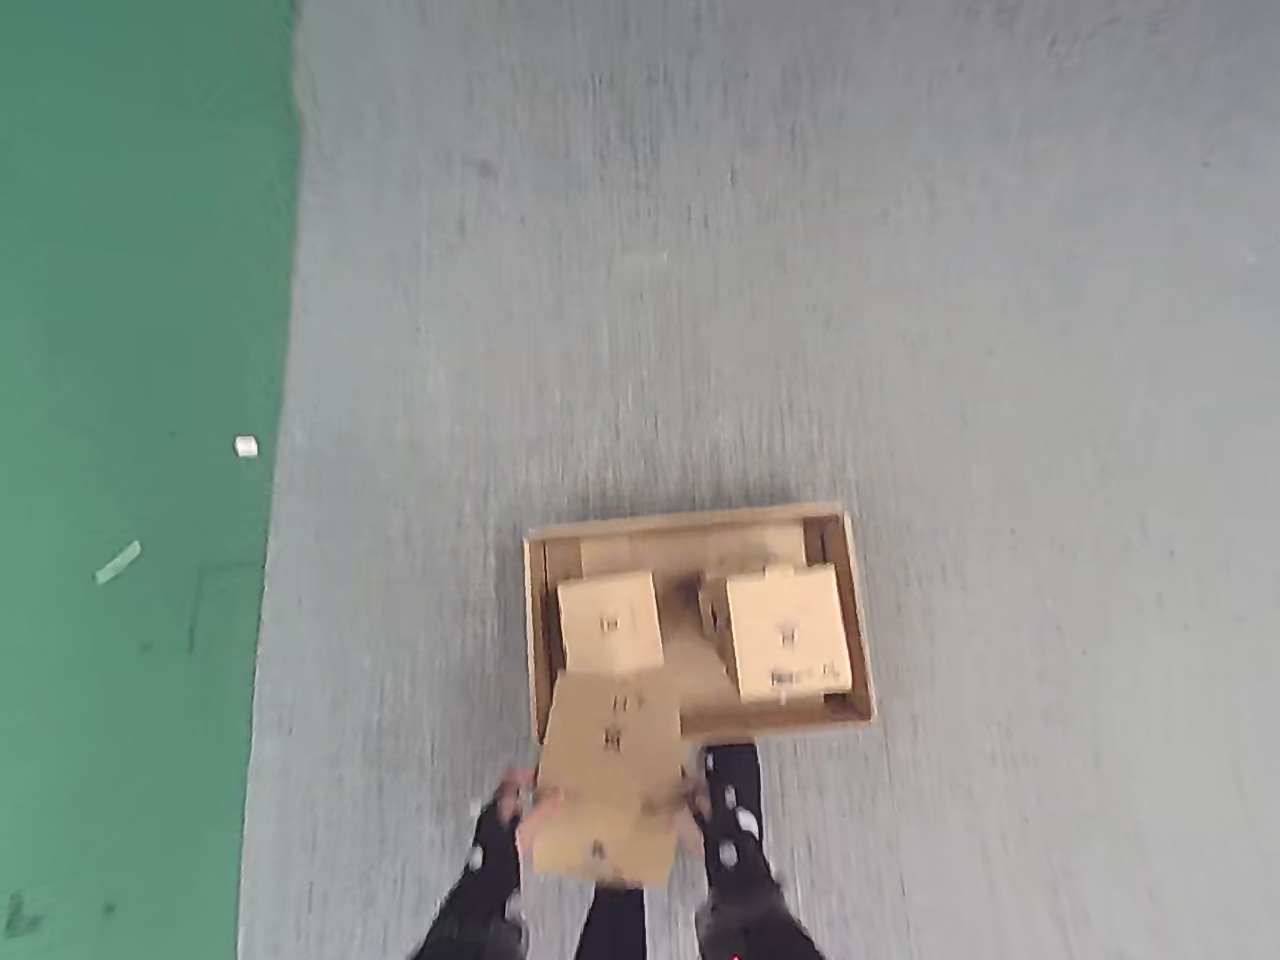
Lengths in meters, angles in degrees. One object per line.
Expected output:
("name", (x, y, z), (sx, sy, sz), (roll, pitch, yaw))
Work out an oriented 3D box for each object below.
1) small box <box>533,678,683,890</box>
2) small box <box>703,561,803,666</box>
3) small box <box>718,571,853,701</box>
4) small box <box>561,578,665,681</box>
("small box", (-0.036, 0.386, 0.691), (0.168, 0.179, 0.176), (6, 121, -1))
("small box", (0.221, 0.253, 1.044), (0.179, 0.176, 0.168), (-9, 80, 0))
("small box", (0.224, 0.247, 0.879), (0.168, 0.176, 0.179), (-6, 79, 2))
("small box", (-0.048, 0.284, 1.048), (0.179, 0.176, 0.168), (-7, 80, -2))
